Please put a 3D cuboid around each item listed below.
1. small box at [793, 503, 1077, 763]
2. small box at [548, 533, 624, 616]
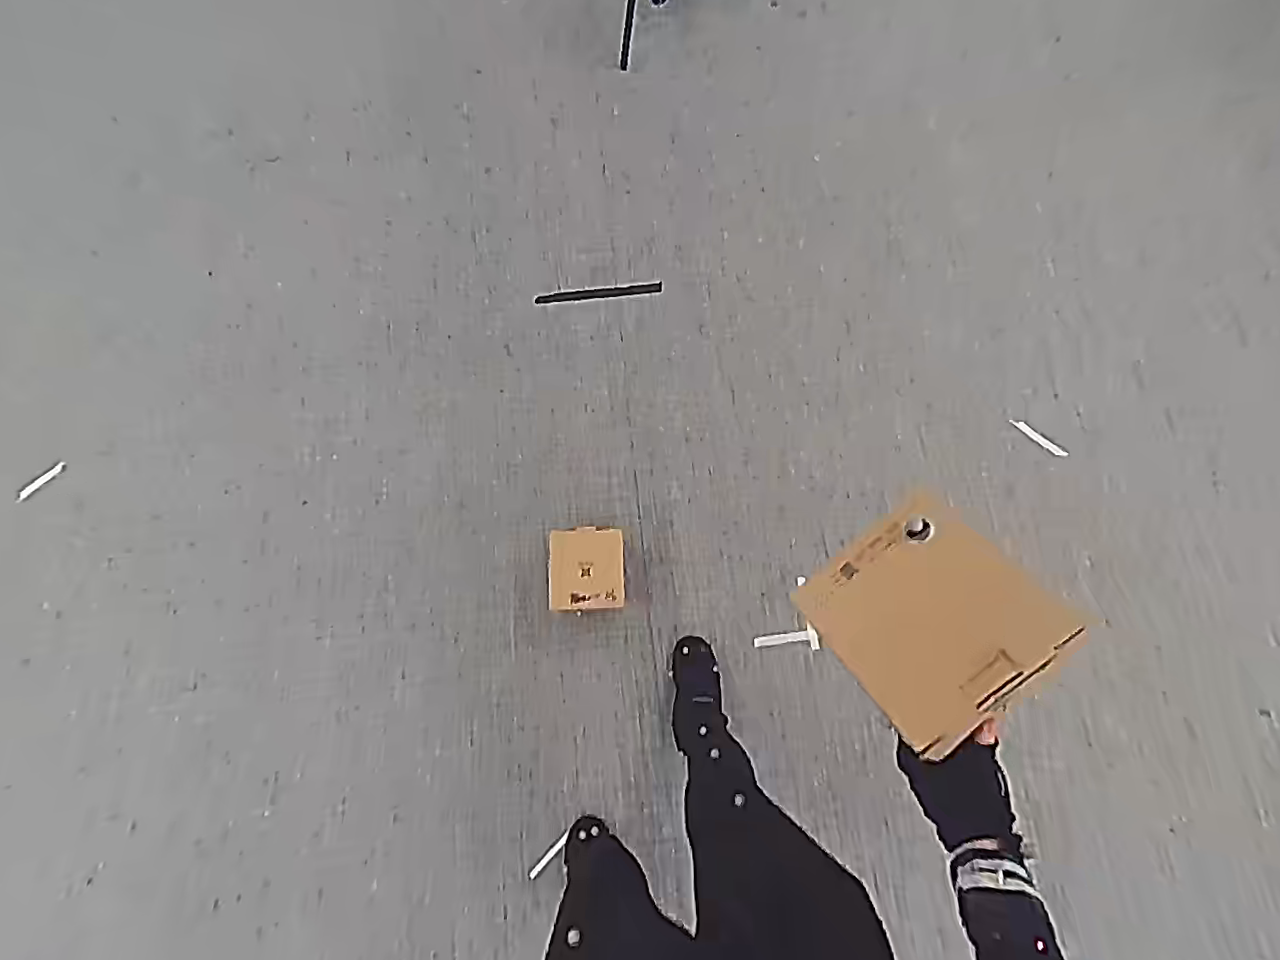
[{"bbox_3d":[0.280,0.148,0.536,0.168,0.179,0.176,-43,49,6],"label":"small box"},{"bbox_3d":[-0.122,0.226,1.269,0.168,0.176,0.179,-1,75,-1],"label":"small box"}]
